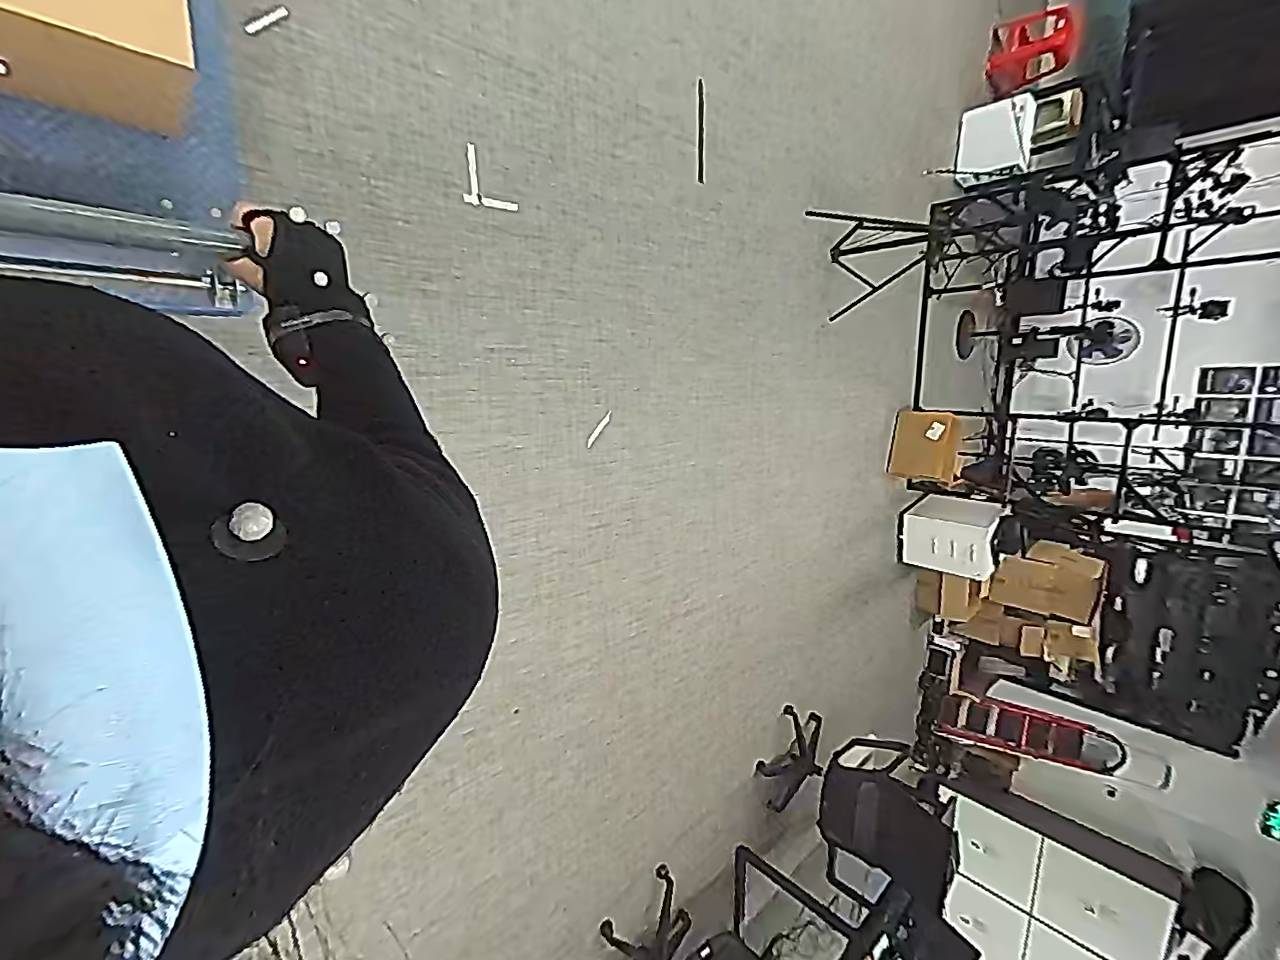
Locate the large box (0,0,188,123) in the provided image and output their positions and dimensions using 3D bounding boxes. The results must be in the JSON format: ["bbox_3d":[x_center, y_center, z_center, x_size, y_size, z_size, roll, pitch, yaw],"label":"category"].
[{"bbox_3d":[-0.886,-0.743,0.715,0.408,0.320,0.320,-8,103,-42],"label":"large box"}]
